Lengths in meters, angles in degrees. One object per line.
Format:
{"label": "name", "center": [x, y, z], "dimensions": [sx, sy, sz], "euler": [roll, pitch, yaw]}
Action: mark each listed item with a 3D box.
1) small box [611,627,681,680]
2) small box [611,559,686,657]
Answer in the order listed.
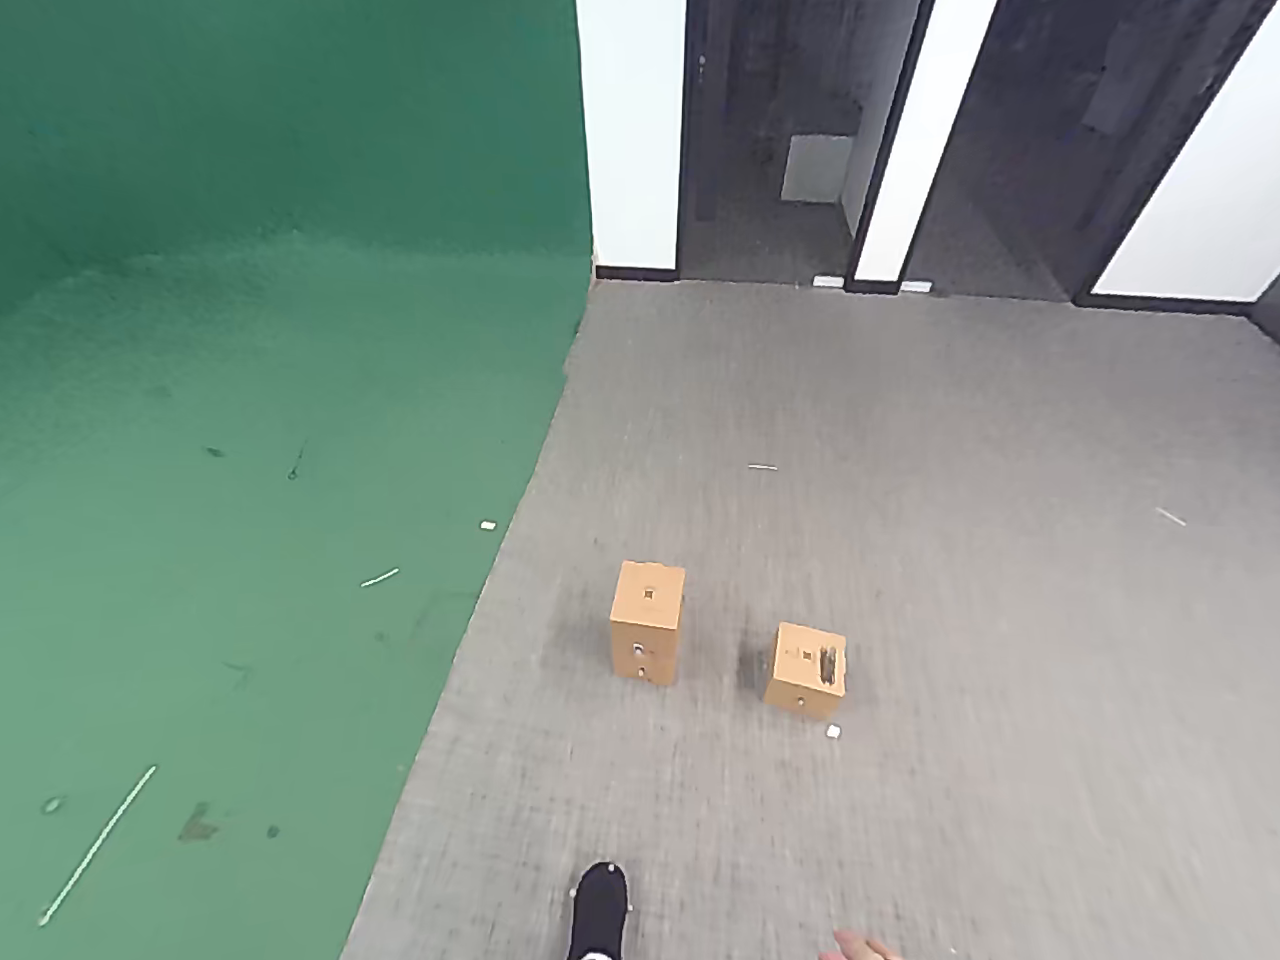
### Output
{"label": "small box", "center": [0.023, 0.437, 1.513], "dimensions": [0.168, 0.176, 0.179], "euler": [9, 49, 9]}
{"label": "small box", "center": [0.025, 0.329, 1.391], "dimensions": [0.168, 0.176, 0.179], "euler": [6, 49, 8]}
